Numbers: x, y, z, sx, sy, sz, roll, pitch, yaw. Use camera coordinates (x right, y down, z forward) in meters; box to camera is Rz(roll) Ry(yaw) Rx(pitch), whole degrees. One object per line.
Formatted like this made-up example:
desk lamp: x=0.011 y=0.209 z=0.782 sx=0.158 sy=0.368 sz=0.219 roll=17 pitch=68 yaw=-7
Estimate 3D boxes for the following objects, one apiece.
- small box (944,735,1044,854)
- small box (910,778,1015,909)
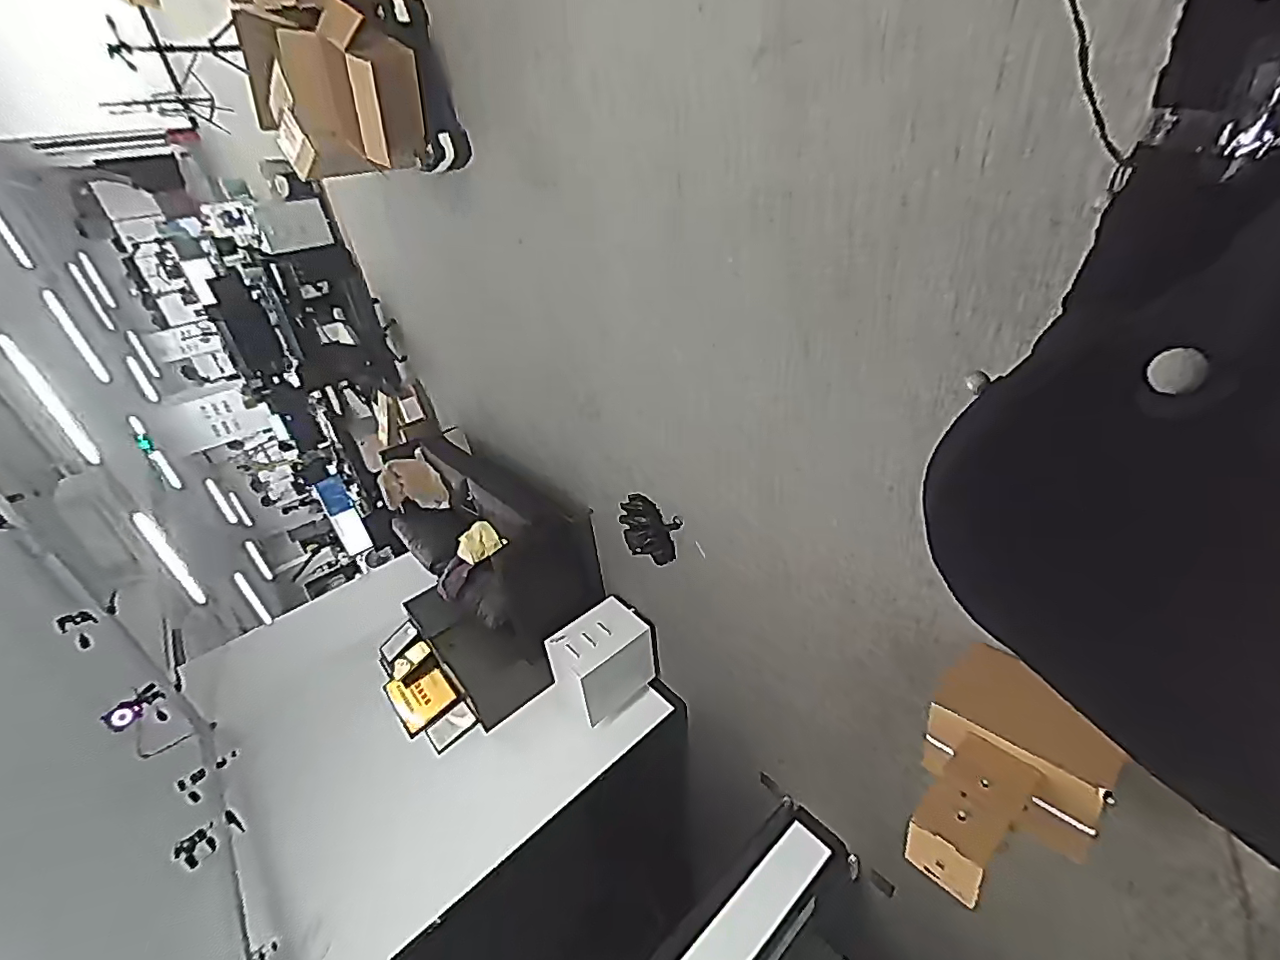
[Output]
small box: x=0.922 y=0.816 z=1.420 sx=0.179 sy=0.176 sz=0.168 roll=24 pitch=133 yaw=47
small box: x=0.799 y=0.889 z=1.341 sx=0.168 sy=0.176 sz=0.179 roll=23 pitch=131 yaw=46
